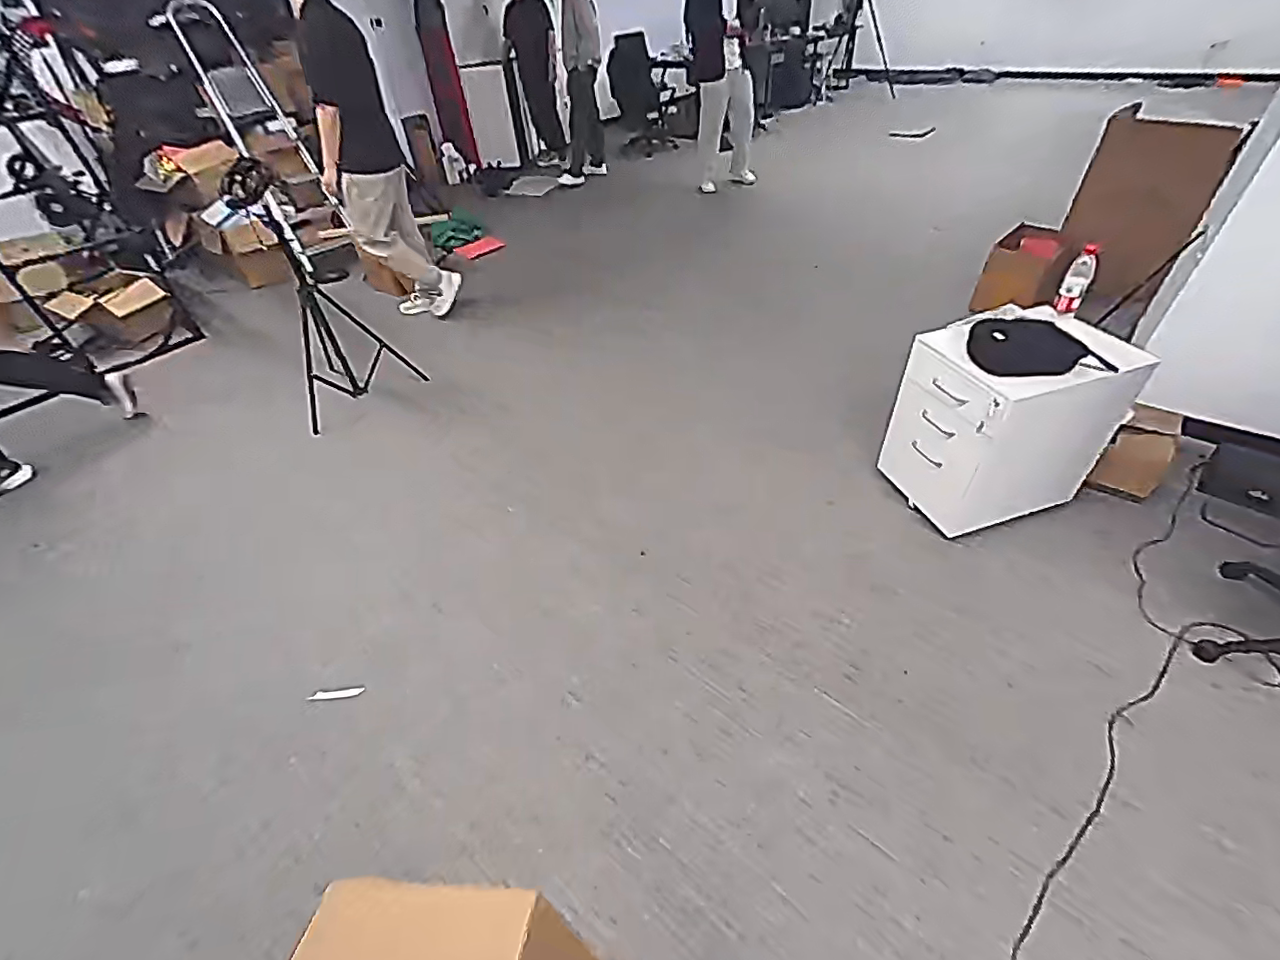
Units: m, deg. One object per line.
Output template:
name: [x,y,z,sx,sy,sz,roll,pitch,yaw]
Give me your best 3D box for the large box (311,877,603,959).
large box: [-0.223,0.763,0.669,0.320,0.408,0.320,-6,32,18]
